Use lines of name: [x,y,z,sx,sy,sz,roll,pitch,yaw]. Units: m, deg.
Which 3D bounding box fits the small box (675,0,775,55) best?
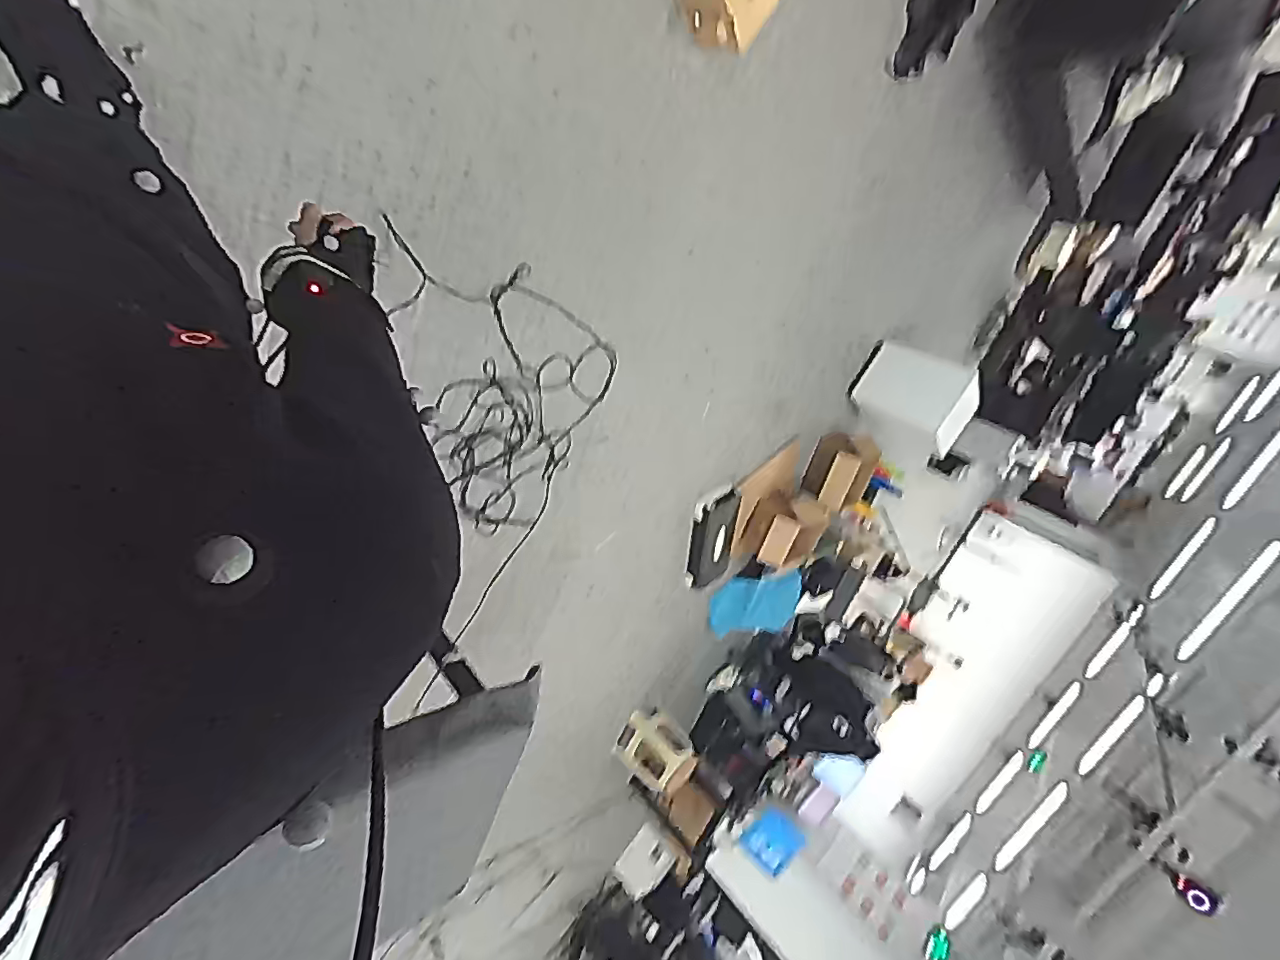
small box: [0.223,-1.272,1.424,0.179,0.176,0.168,-55,146,2]
